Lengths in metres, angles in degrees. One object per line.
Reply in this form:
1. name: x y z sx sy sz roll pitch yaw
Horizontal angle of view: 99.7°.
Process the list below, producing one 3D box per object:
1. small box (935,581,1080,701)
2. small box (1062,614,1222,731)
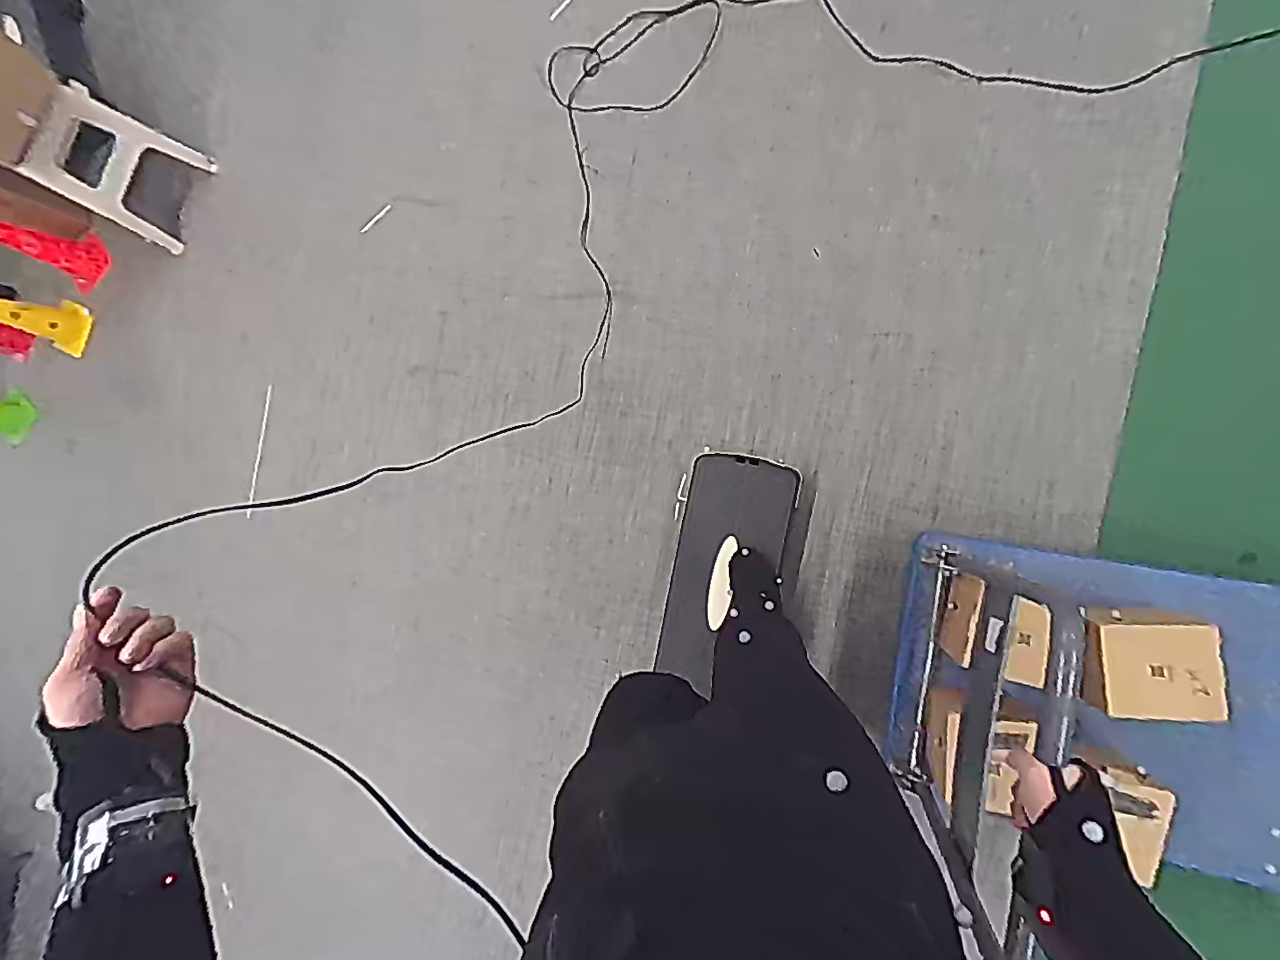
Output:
1. small box: 0.720 0.309 1.080 0.179 0.176 0.168 13 91 16
2. small box: 0.922 0.353 1.020 0.179 0.176 0.168 -3 87 15
